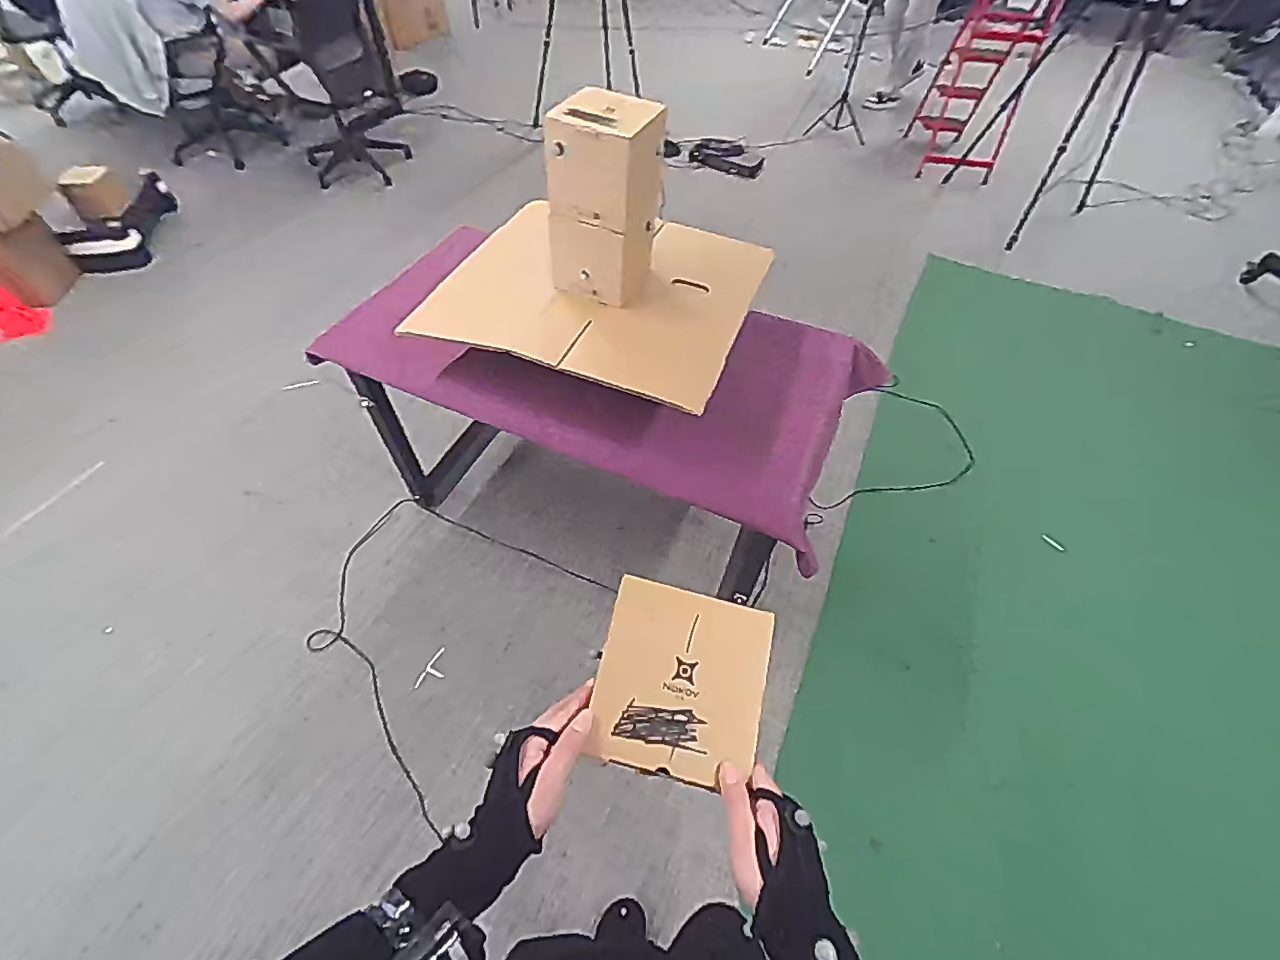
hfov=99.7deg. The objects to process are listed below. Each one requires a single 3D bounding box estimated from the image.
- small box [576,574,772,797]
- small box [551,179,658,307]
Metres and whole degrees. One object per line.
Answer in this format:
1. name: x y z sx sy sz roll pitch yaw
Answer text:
1. small box: 0.033 0.225 0.601 0.168 0.176 0.179 14 66 0
2. small box: -0.076 -0.504 1.155 0.168 0.176 0.179 21 55 11
